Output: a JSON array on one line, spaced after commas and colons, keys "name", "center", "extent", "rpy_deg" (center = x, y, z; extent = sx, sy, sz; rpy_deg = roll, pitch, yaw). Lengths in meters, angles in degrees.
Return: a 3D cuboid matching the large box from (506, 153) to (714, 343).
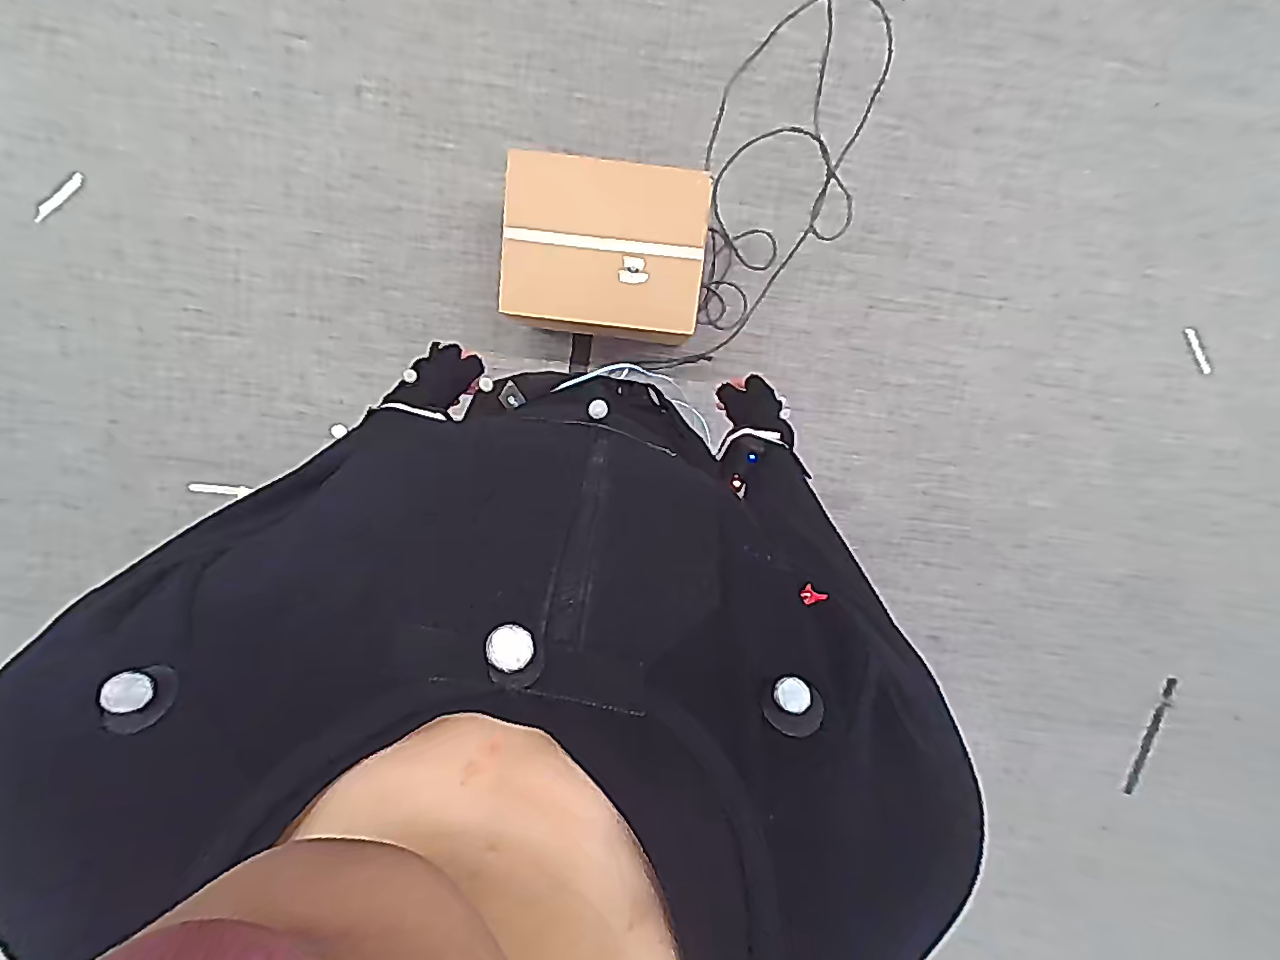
[{"name": "large box", "center": [-0.067, -0.501, 1.238], "extent": [0.408, 0.320, 0.320], "rpy_deg": [7, 101, -1]}]
